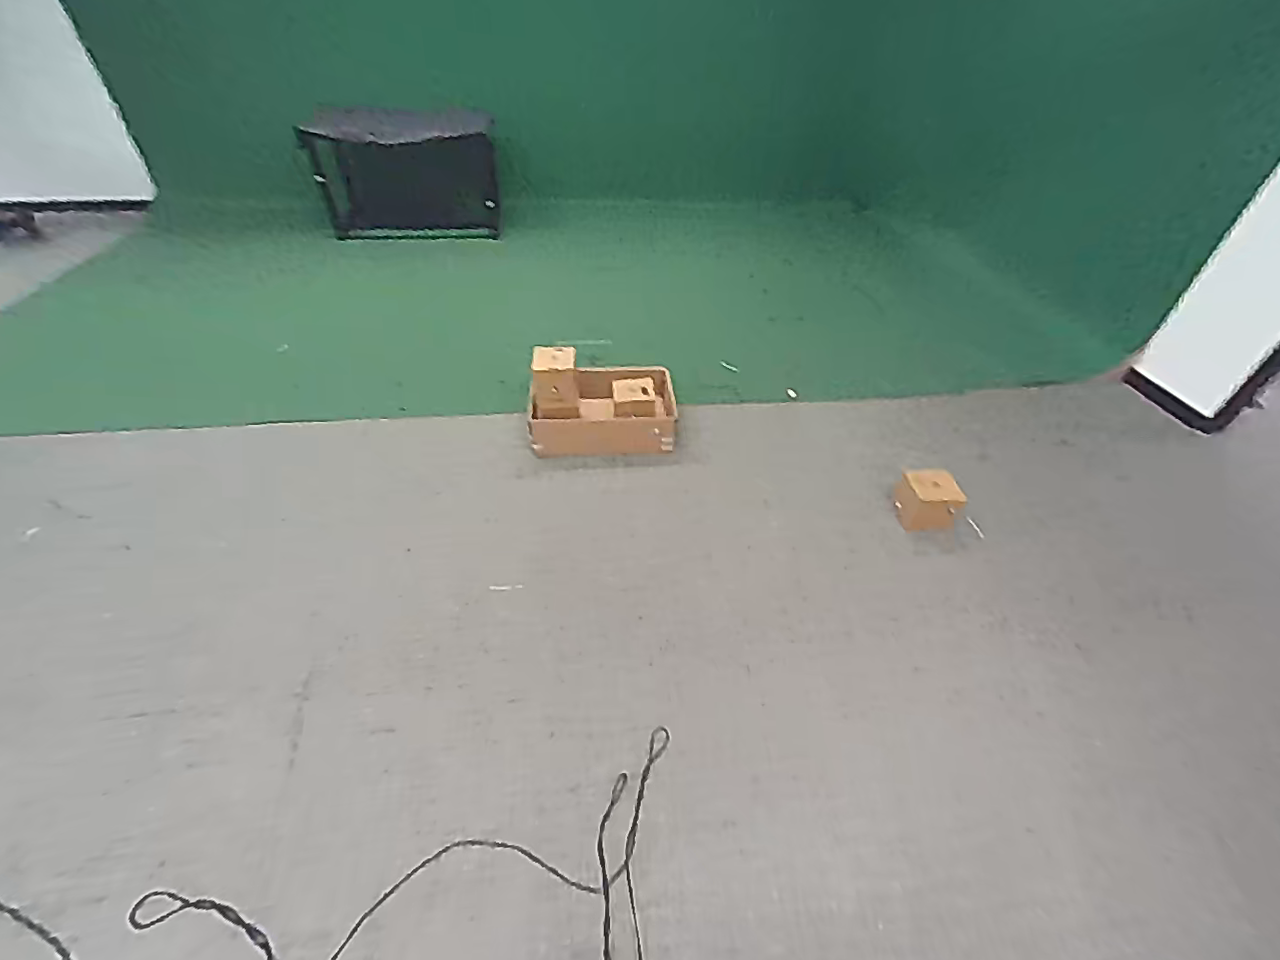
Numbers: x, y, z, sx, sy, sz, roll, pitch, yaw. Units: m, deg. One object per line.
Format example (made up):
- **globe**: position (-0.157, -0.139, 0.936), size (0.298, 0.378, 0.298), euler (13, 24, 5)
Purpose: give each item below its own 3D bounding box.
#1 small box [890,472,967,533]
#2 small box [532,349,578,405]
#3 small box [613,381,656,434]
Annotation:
- **small box**: position (1.085, 0.089, 2.048), size (0.179, 0.176, 0.168), euler (1, 42, -2)
- **small box**: position (-0.345, -0.422, 2.224), size (0.168, 0.176, 0.179), euler (-1, 44, -3)
- **small box**: position (-0.026, -0.316, 2.363), size (0.179, 0.176, 0.168), euler (-3, 44, -4)
